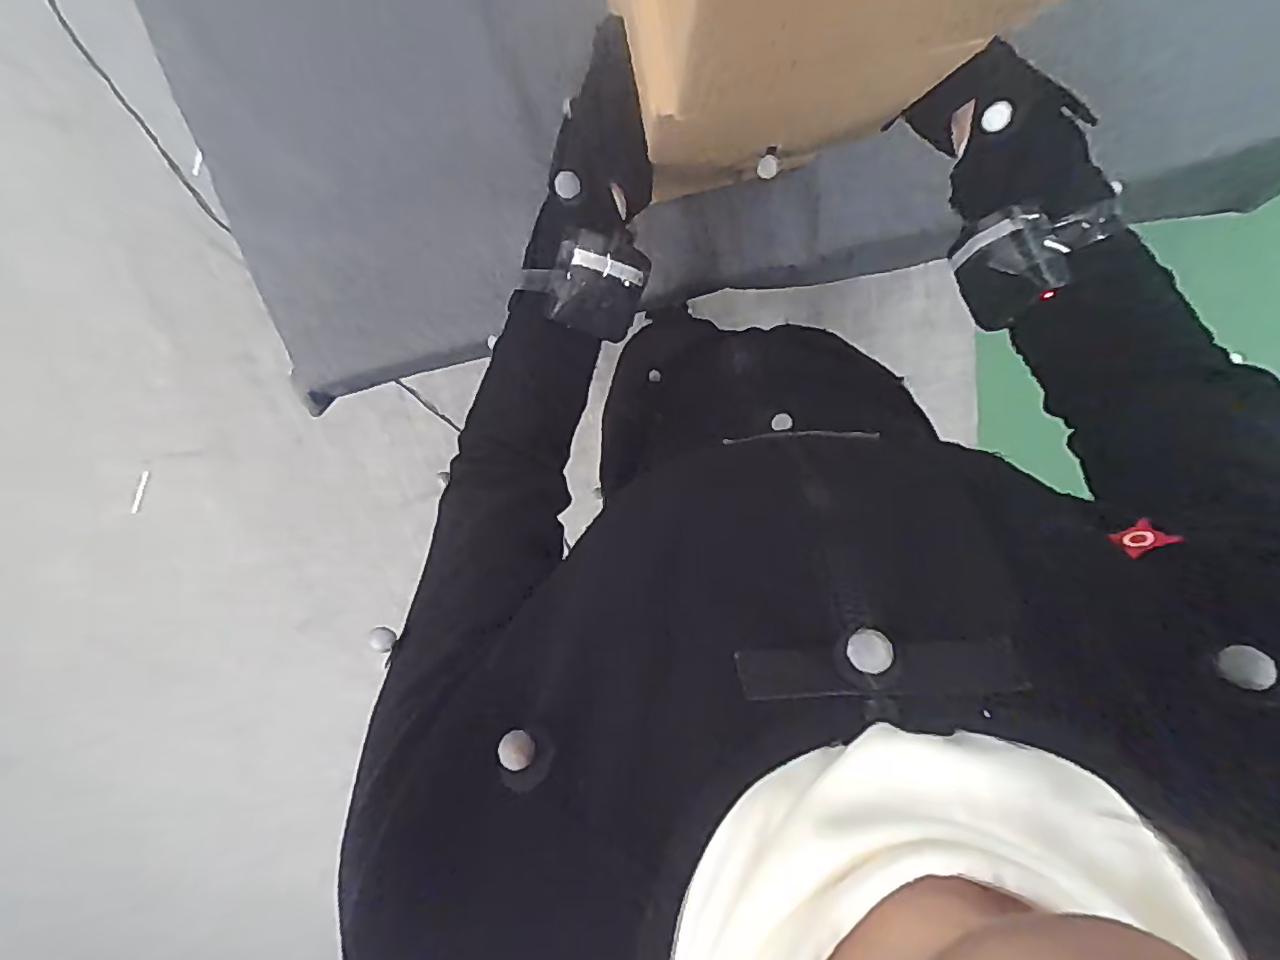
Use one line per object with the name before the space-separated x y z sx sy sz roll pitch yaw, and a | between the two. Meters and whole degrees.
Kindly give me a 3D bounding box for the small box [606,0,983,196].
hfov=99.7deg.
small box | 0.072 -0.298 0.333 0.179 0.176 0.168 -14 106 5
